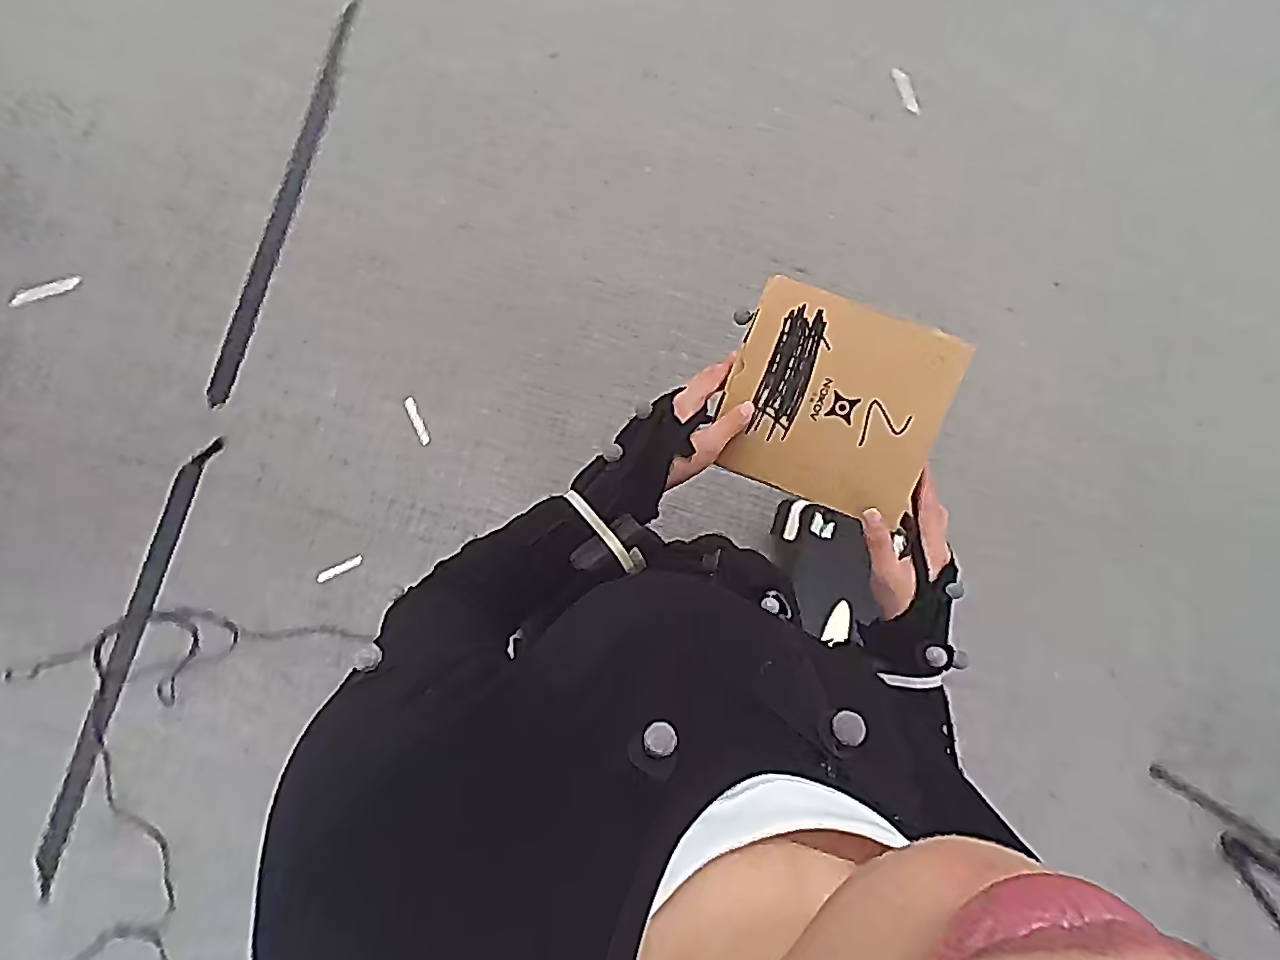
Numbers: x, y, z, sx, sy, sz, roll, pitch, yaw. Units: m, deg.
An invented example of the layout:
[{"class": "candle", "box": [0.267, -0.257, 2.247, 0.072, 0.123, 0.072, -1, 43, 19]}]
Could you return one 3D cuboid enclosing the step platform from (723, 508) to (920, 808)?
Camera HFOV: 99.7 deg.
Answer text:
[{"class": "step platform", "box": [0.440, 0.418, 1.326, 0.286, 0.204, 0.684, 17, 86, -7]}]
